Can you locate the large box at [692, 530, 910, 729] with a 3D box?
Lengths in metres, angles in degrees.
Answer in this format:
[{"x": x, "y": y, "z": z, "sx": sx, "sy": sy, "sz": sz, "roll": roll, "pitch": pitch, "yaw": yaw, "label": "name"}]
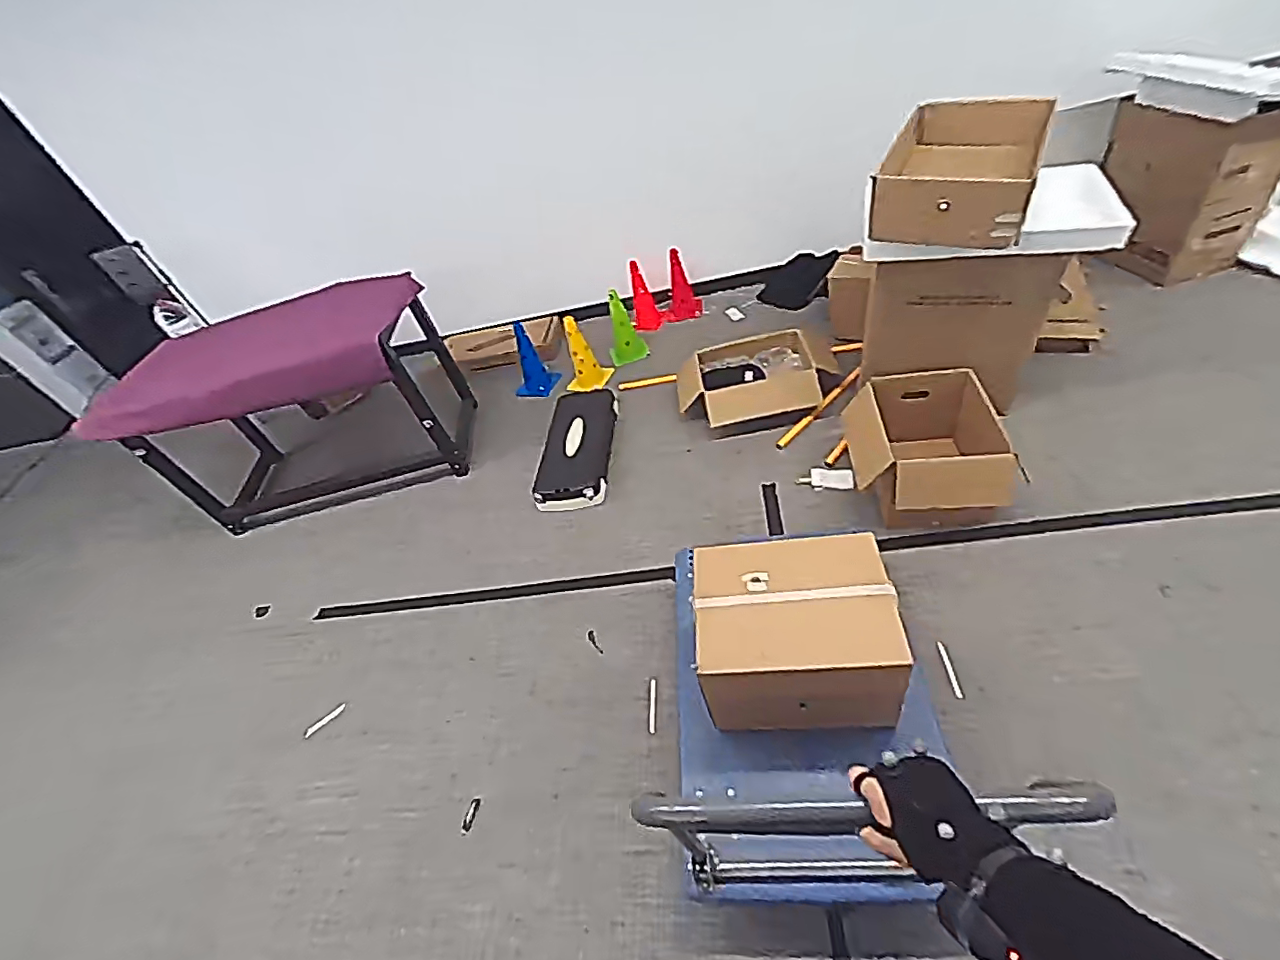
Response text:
[{"x": 0.346, "y": 0.349, "z": 1.231, "sx": 0.408, "sy": 0.320, "sz": 0.320, "roll": -8, "pitch": 43, "yaw": 12, "label": "large box"}]
